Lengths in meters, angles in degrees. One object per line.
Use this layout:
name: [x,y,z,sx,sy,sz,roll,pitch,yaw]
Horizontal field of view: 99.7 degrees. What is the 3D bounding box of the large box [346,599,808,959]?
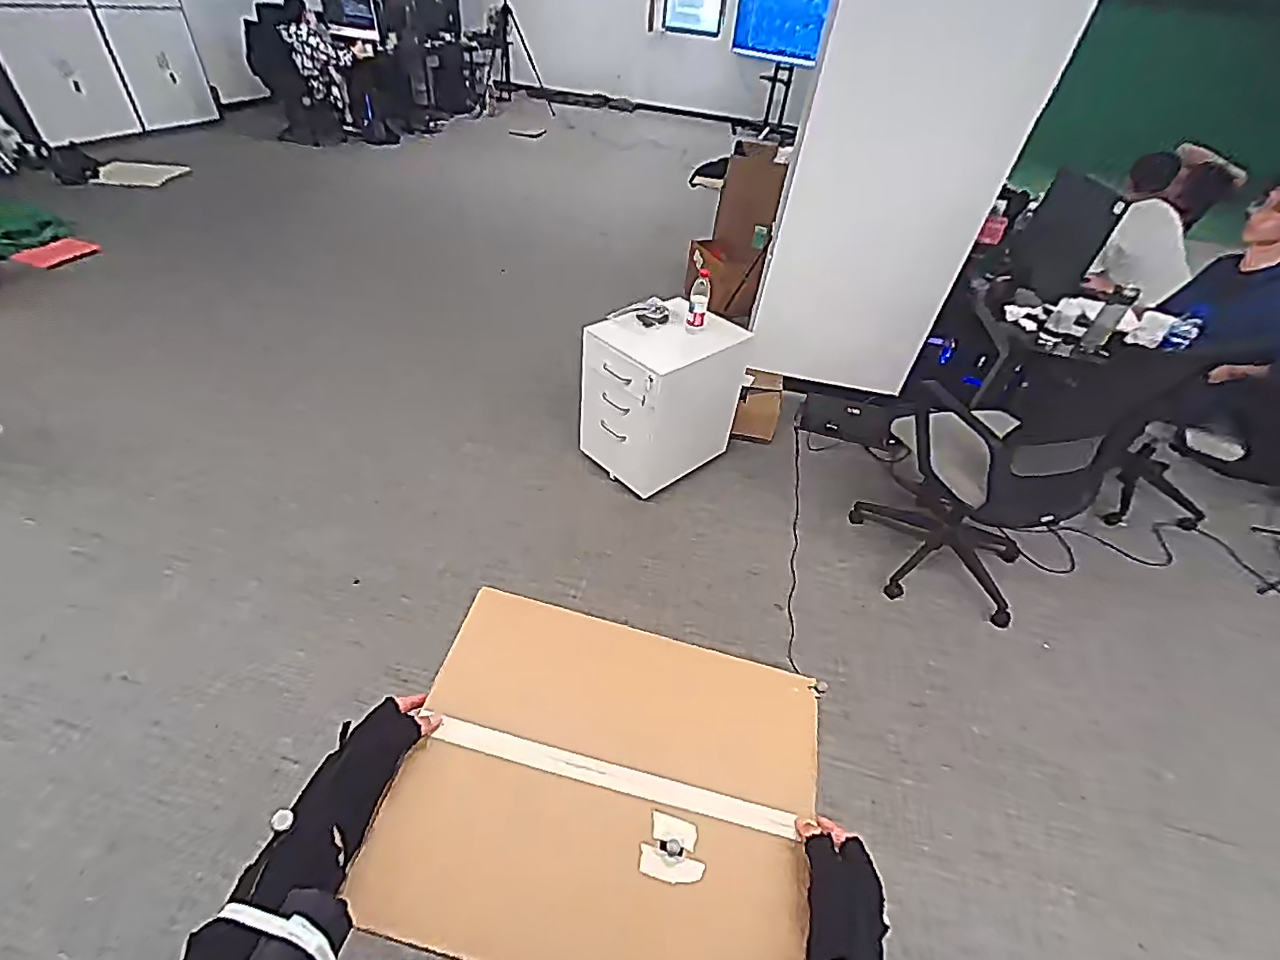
large box: [-0.049,0.394,0.654,0.408,0.320,0.320,16,50,2]
